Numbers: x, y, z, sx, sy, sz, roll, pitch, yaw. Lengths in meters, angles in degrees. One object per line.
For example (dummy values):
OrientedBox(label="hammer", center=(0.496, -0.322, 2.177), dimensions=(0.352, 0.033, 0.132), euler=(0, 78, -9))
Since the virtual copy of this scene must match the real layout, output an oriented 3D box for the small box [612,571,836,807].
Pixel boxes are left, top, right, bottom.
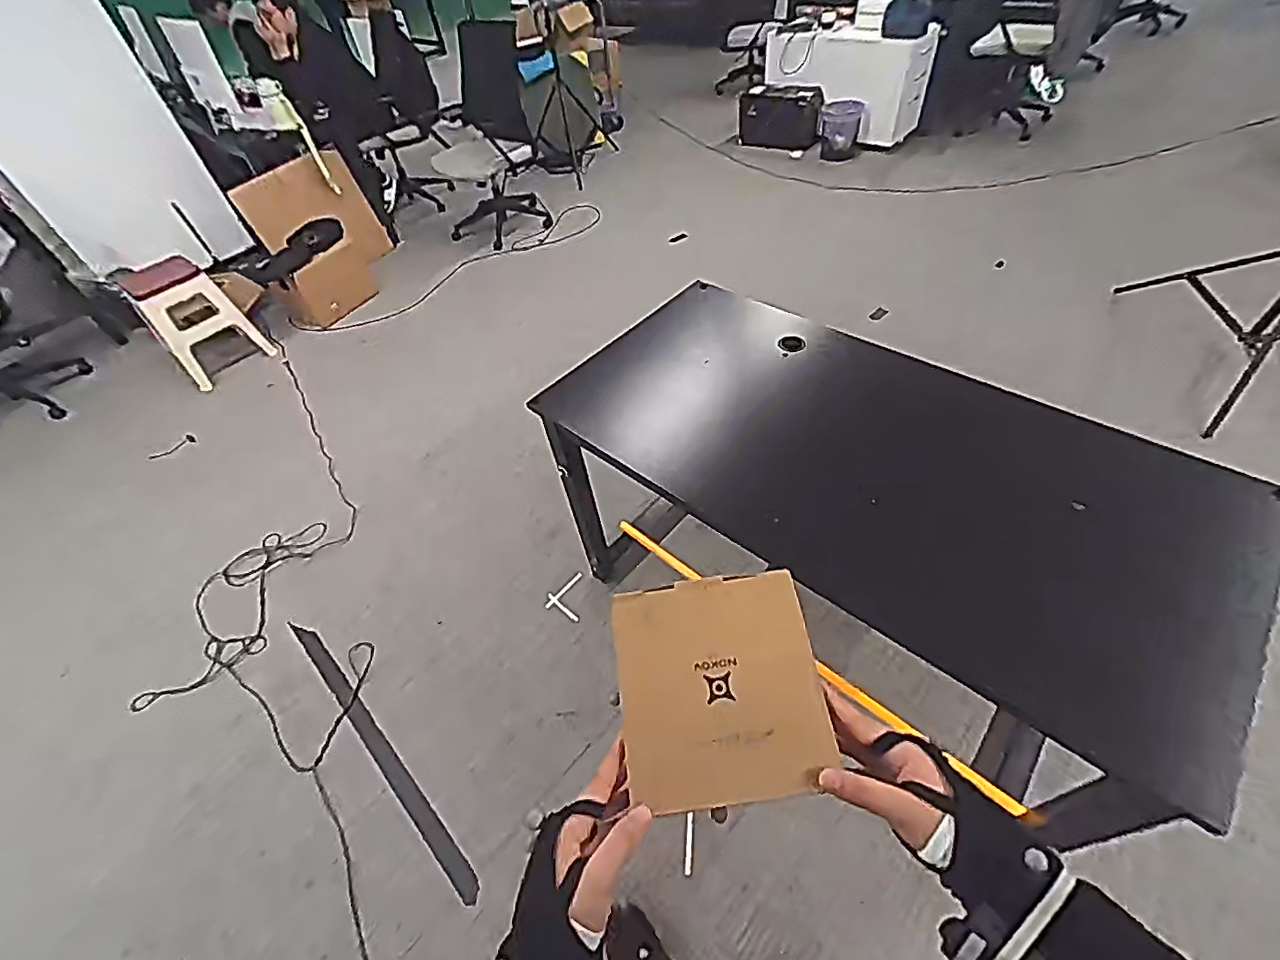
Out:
OrientedBox(label="small box", center=(0.068, 0.208, 0.527), dimensions=(0.168, 0.176, 0.179), euler=(-8, 61, 1))
